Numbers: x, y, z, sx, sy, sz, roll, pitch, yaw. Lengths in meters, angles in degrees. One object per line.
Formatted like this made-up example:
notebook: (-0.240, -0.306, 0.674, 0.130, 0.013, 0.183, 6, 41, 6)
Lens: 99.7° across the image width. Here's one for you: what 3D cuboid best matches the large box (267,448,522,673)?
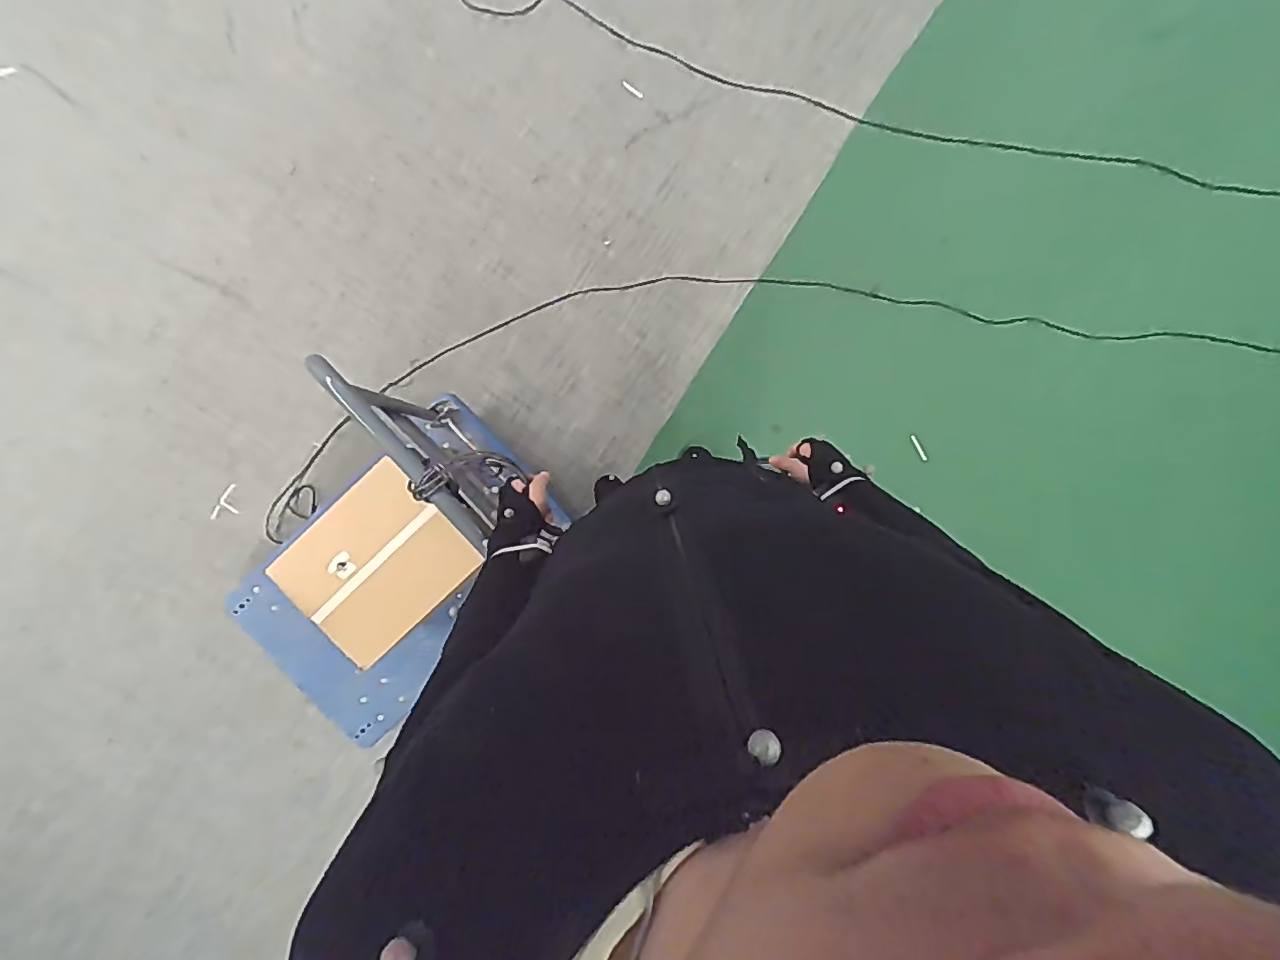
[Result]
large box: (-0.557, 0.165, 1.306, 0.408, 0.320, 0.320, -43, 92, 3)
